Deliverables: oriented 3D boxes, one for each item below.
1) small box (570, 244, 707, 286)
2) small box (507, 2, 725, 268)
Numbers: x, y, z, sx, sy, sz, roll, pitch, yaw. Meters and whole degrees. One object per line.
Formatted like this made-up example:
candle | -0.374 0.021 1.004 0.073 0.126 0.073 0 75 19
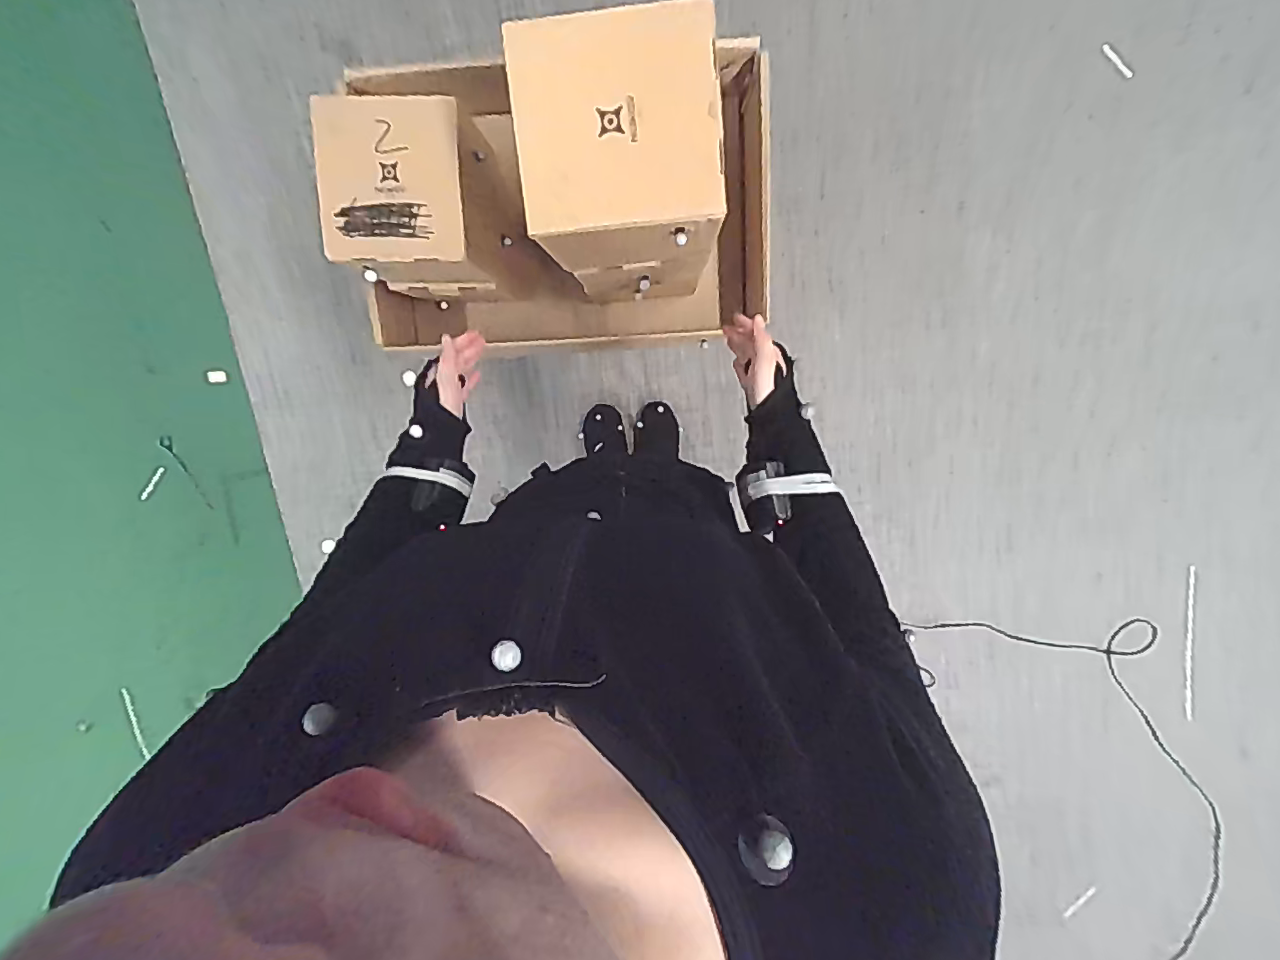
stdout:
small box | -0.006 -0.352 0.694 0.168 0.176 0.179 -5 102 3
small box | -0.015 -0.316 0.535 0.179 0.176 0.168 -5 101 2
